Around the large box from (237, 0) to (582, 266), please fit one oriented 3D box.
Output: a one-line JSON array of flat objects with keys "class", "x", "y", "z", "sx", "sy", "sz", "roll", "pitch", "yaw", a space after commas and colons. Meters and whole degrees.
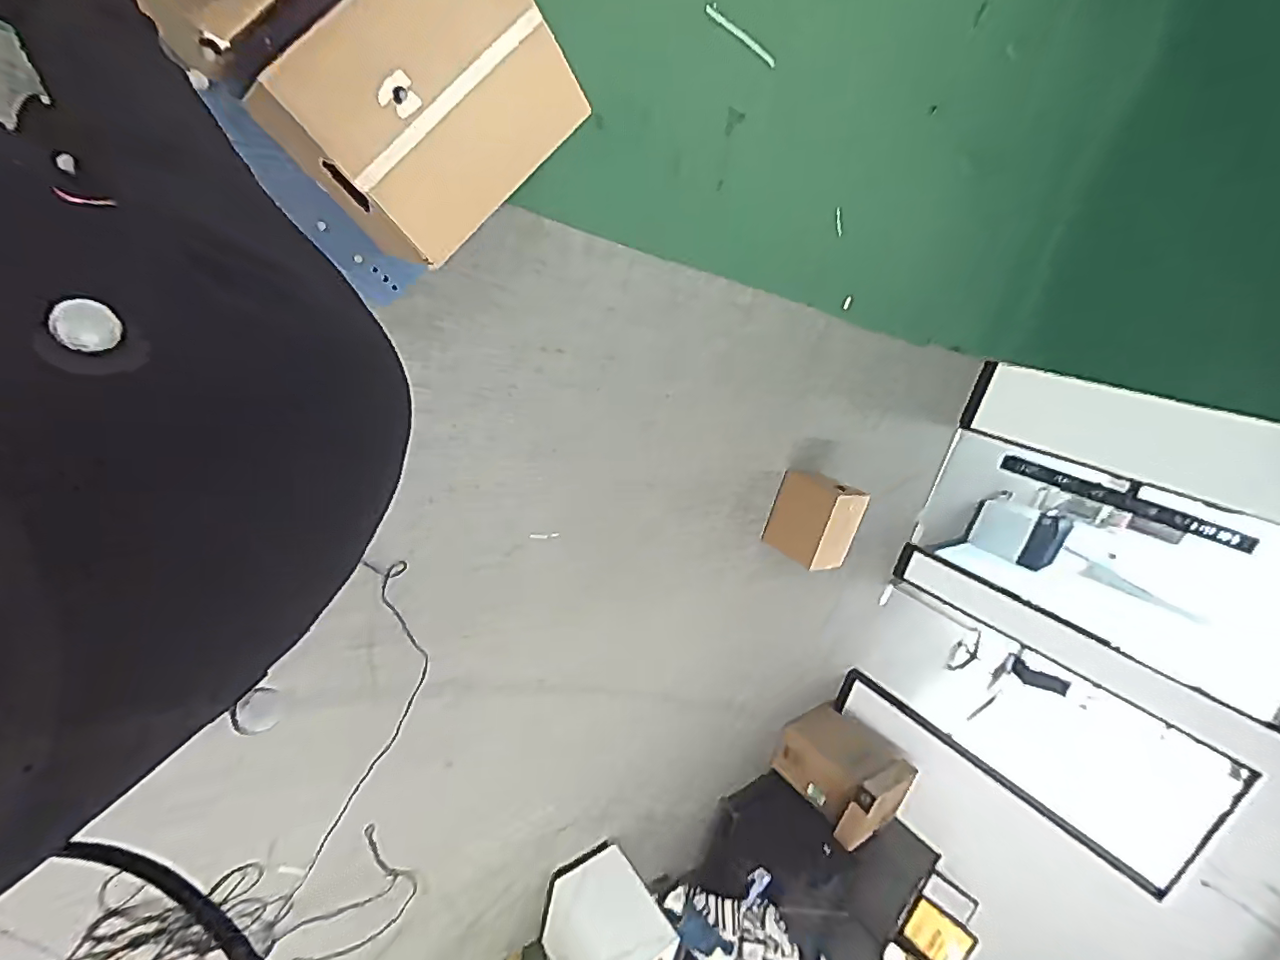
[{"class": "large box", "x": -0.383, "y": -0.644, "z": 0.920, "sx": 0.408, "sy": 0.320, "sz": 0.320, "roll": -49, "pitch": 135, "yaw": -7}]
